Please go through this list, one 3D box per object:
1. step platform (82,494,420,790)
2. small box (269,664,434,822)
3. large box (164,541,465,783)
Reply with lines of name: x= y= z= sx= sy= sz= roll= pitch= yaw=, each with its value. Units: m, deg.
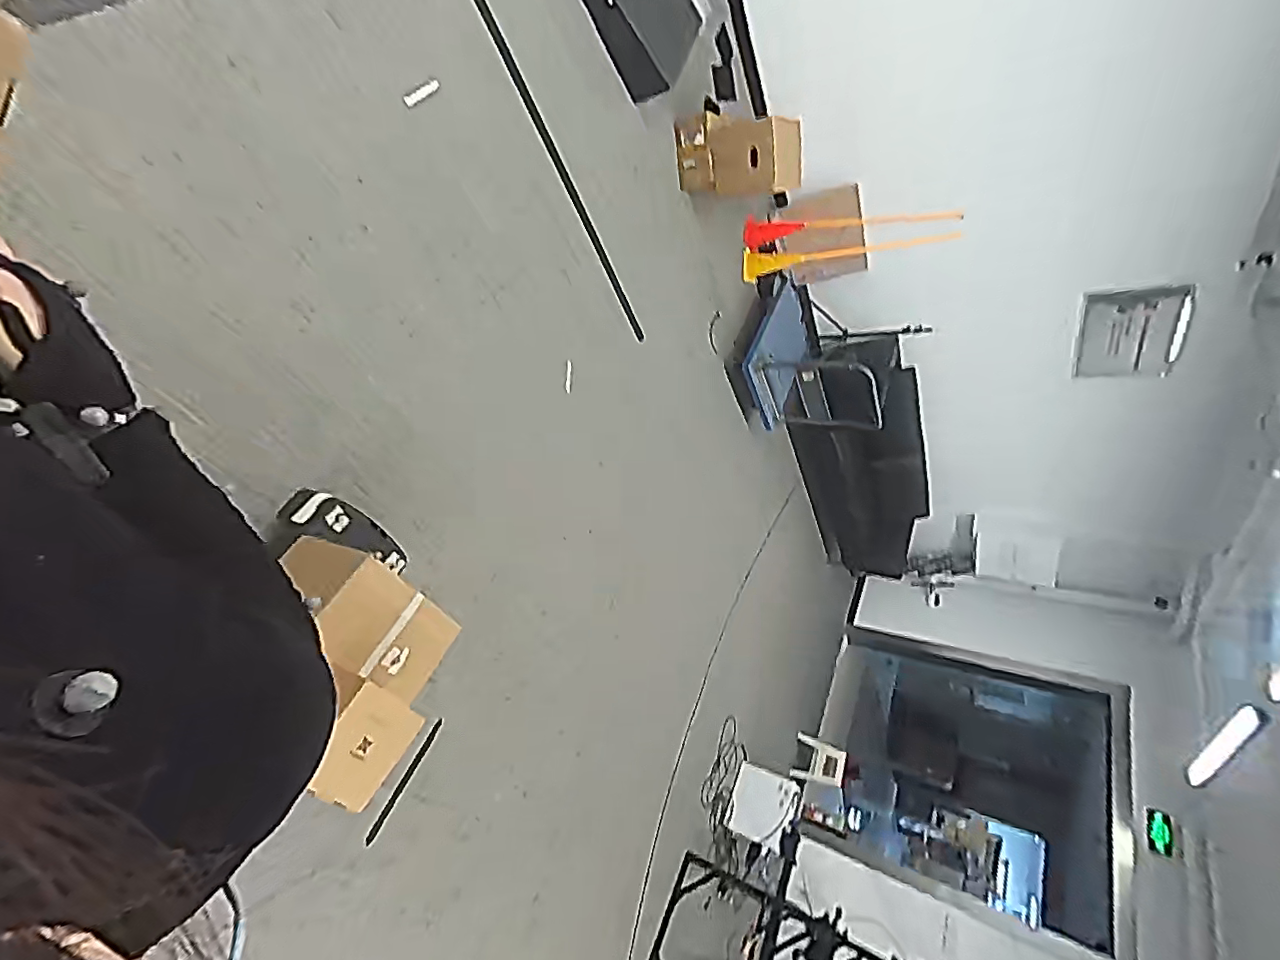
step platform: x=-0.868 y=0.352 z=1.301 sx=0.684 sy=0.204 sz=0.286 roll=-56 pitch=136 yaw=-35
small box: x=-0.520 y=0.461 z=0.968 sx=0.179 sy=0.176 sz=0.168 roll=-57 pitch=136 yaw=-34
large box: x=-0.675 y=0.392 z=1.165 sx=0.408 sy=0.320 sz=0.320 roll=-61 pitch=139 yaw=-31
